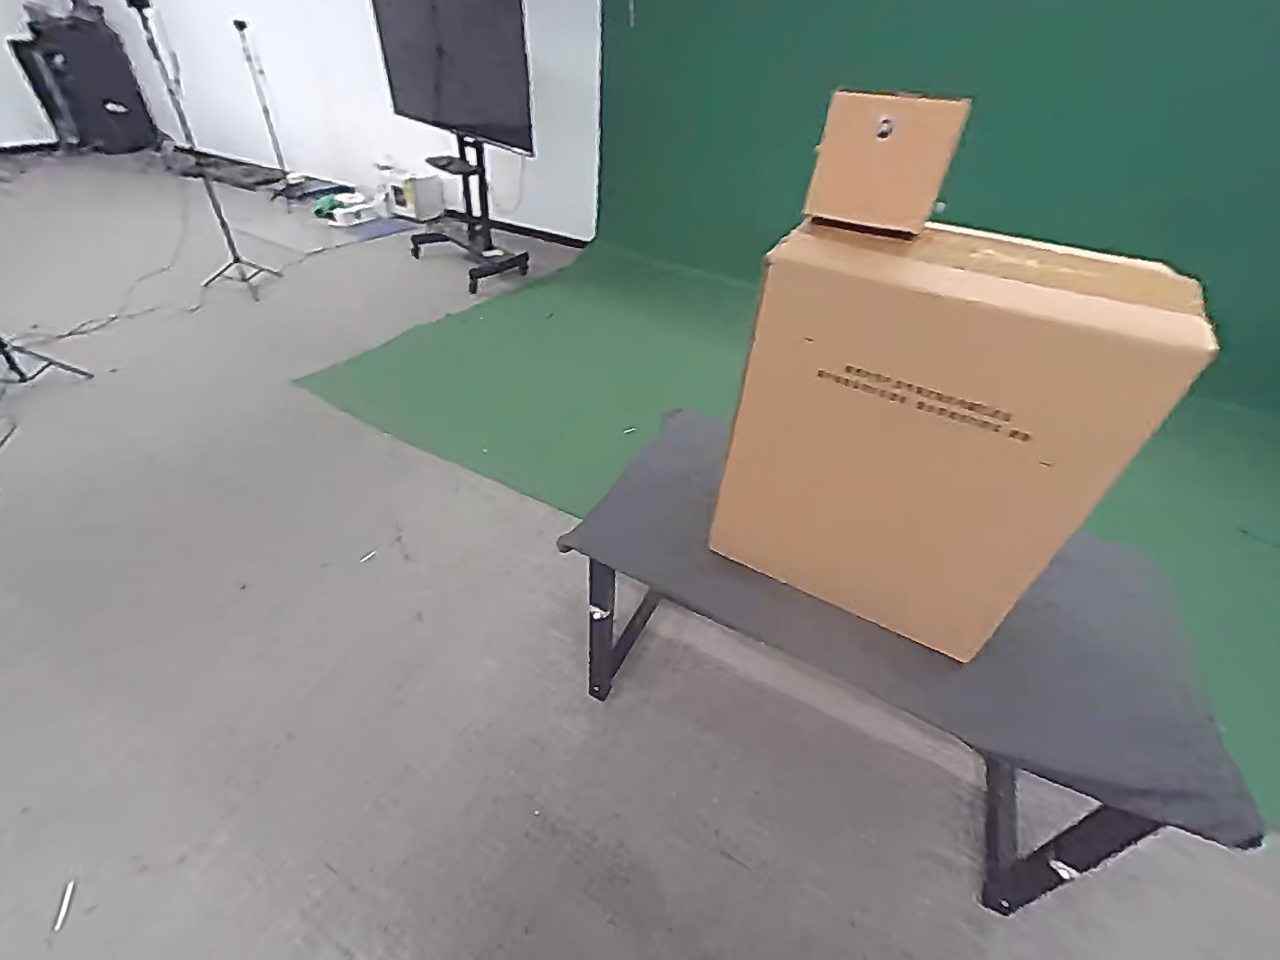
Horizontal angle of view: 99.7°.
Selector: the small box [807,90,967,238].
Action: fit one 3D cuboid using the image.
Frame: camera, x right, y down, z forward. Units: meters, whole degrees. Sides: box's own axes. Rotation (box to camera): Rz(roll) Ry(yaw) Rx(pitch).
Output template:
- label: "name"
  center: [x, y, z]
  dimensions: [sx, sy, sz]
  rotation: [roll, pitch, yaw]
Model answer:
- label: "small box"
  center: [0.380, -0.486, 0.845]
  dimensions: [0.179, 0.176, 0.168]
  rotation: [22, 36, 18]
